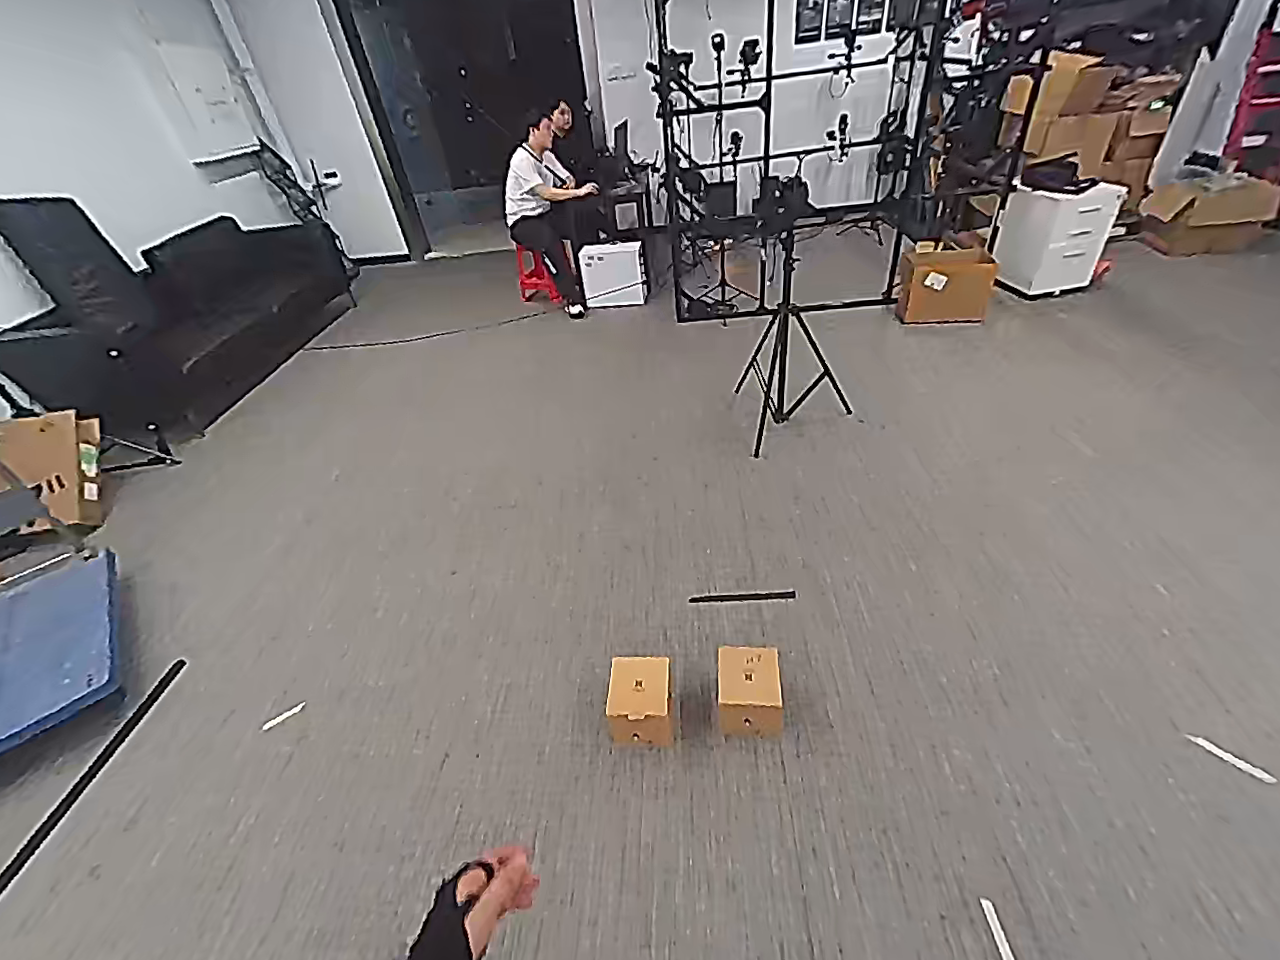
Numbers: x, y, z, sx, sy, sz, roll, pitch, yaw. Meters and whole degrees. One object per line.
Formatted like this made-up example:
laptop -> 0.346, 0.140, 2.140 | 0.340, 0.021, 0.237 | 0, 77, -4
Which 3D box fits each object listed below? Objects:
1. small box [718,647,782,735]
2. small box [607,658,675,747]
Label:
small box -> 0.304, 0.590, 1.510 | 0.168, 0.176, 0.179 | -1, 38, 9
small box -> 0.009, 0.626, 1.524 | 0.168, 0.176, 0.179 | -3, 38, 7
